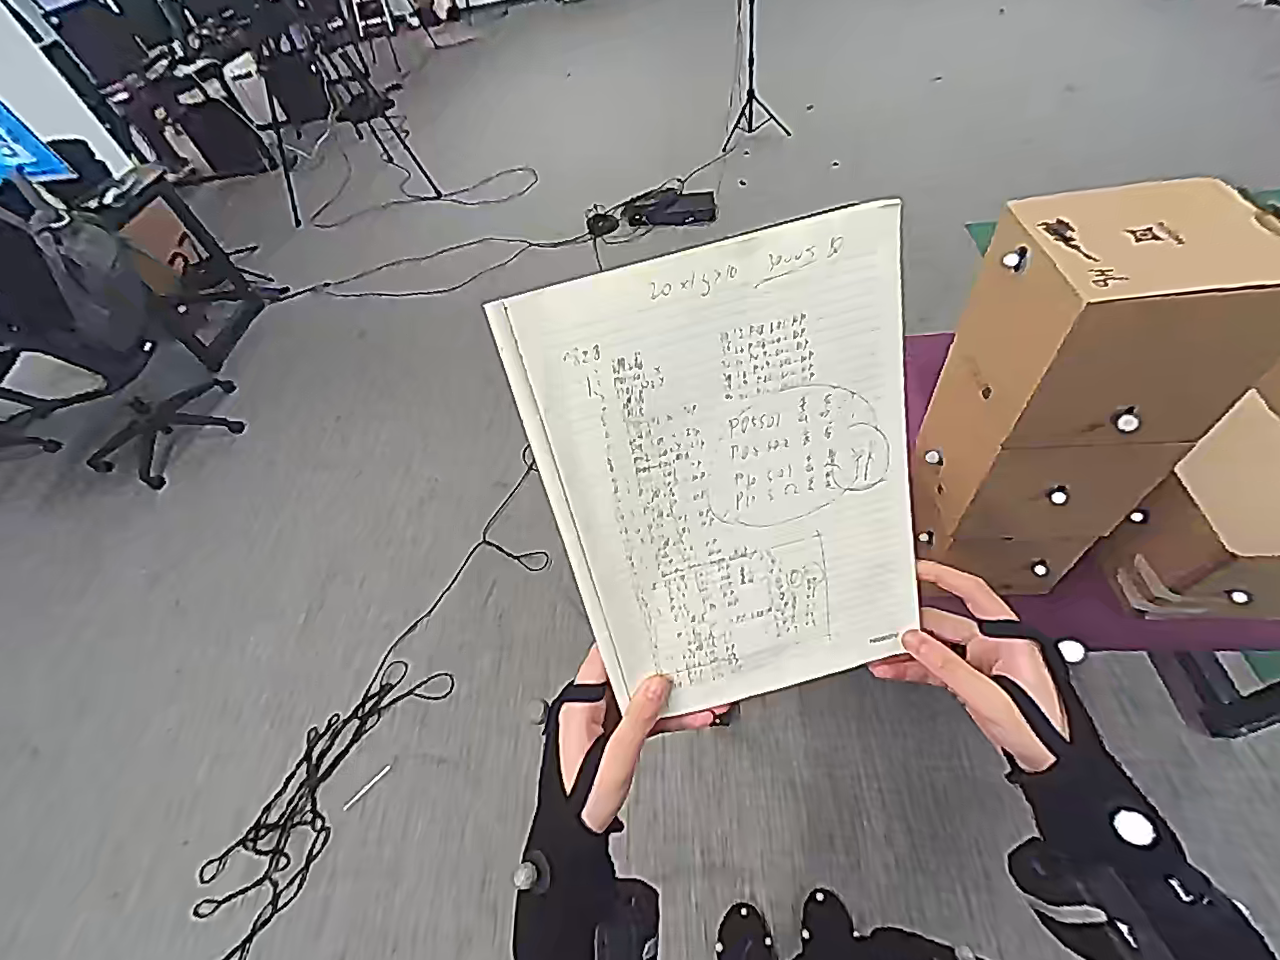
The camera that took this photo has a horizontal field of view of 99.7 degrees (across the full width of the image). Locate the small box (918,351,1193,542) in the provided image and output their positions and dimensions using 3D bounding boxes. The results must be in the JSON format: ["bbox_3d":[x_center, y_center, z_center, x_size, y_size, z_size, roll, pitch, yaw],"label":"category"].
[{"bbox_3d":[0.453,-0.039,0.630,0.179,0.176,0.168,-2,50,9],"label":"small box"}]

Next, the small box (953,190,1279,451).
[{"bbox_3d":[0.430,-0.141,0.504,0.179,0.176,0.168,-2,50,8],"label":"small box"}]
